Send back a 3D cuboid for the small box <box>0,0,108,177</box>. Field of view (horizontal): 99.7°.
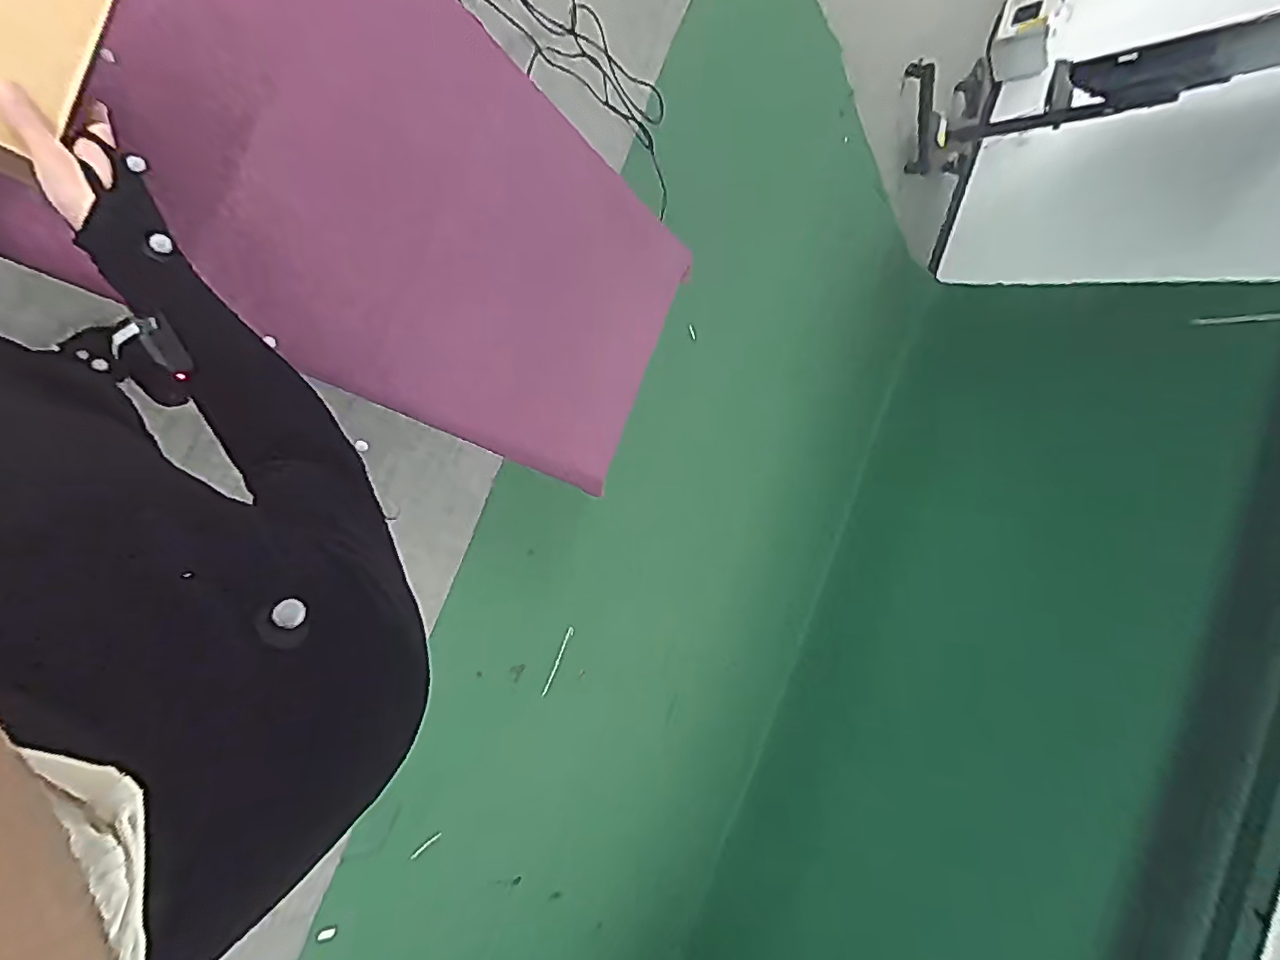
[{"bbox_3d":[-0.566,-0.373,0.425,0.168,0.176,0.179,21,88,-52],"label":"small box"}]
